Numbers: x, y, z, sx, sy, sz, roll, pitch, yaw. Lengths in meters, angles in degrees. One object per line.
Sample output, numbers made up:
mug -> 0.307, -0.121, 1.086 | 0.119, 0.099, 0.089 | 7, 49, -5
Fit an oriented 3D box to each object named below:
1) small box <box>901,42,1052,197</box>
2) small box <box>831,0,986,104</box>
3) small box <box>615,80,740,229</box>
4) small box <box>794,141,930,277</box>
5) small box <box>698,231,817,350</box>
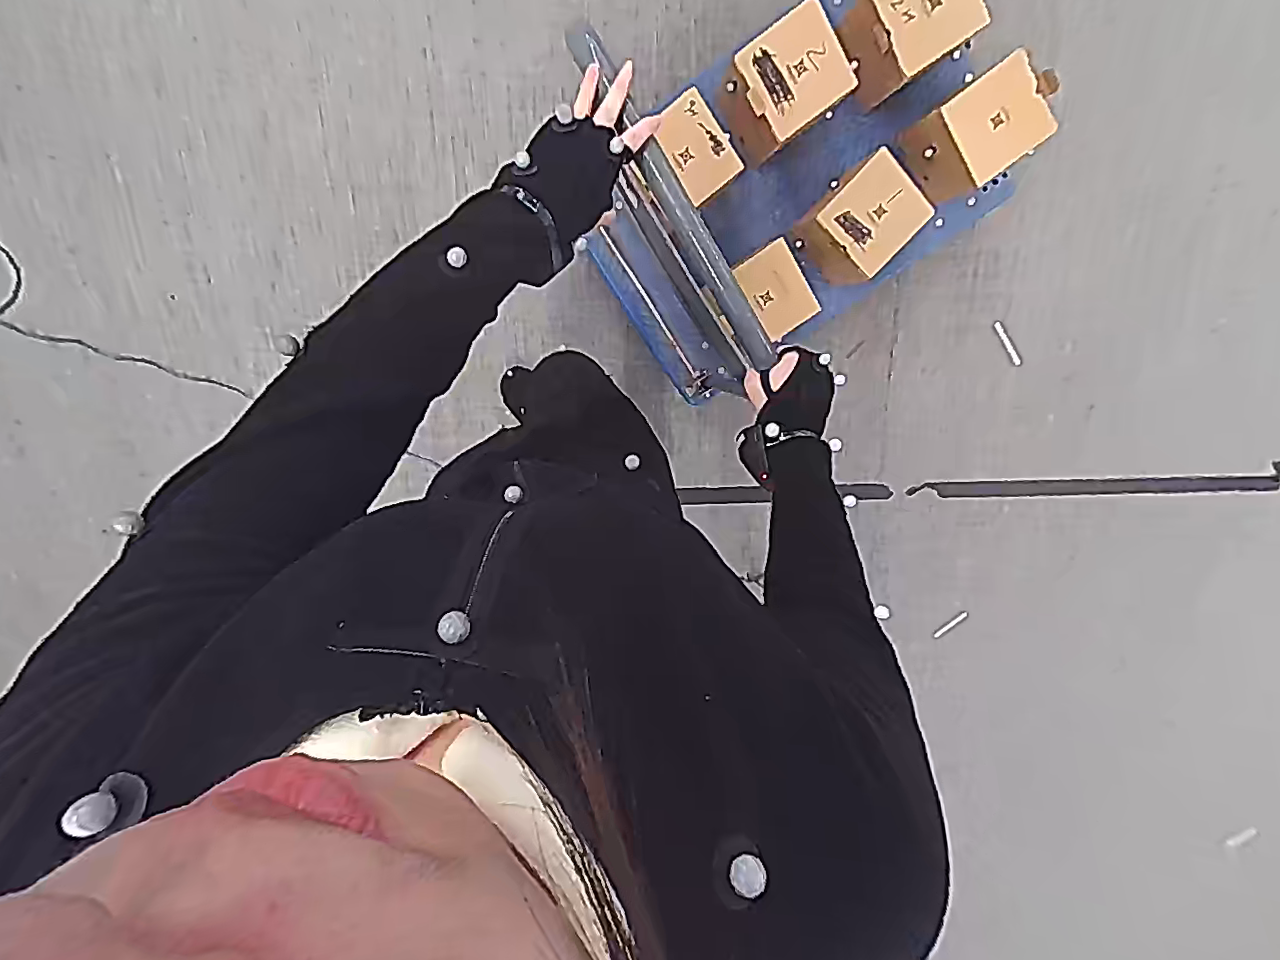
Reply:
small box -> 0.660, -0.708, 1.089 | 0.179, 0.176, 0.168 | -36, 105, 6
small box -> 0.501, -0.870, 1.029 | 0.179, 0.176, 0.168 | -32, 105, 6
small box -> 0.067, -0.625, 1.069 | 0.179, 0.176, 0.168 | -37, 106, 7
small box -> 0.444, -0.545, 1.120 | 0.168, 0.176, 0.179 | 43, 98, -14
small box -> 0.237, -0.393, 1.149 | 0.179, 0.176, 0.168 | -33, 106, 5
